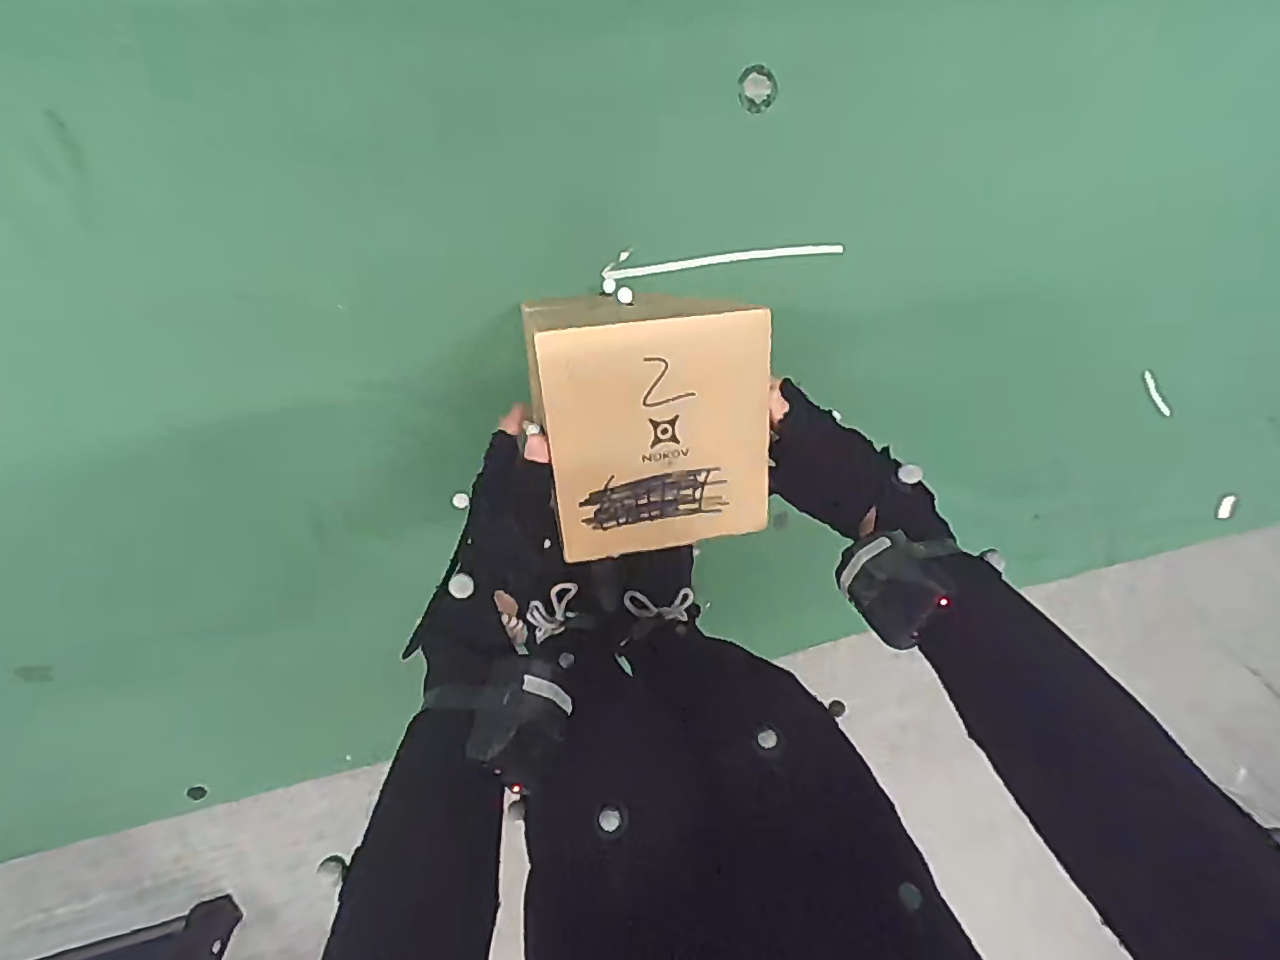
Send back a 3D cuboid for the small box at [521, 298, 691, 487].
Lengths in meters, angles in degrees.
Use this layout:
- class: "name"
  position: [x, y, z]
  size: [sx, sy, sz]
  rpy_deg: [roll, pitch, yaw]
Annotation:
- class: "small box"
  position: [-0.044, -0.109, 0.622]
  size: [0.168, 0.176, 0.179]
  rpy_deg: [-7, 112, -11]
